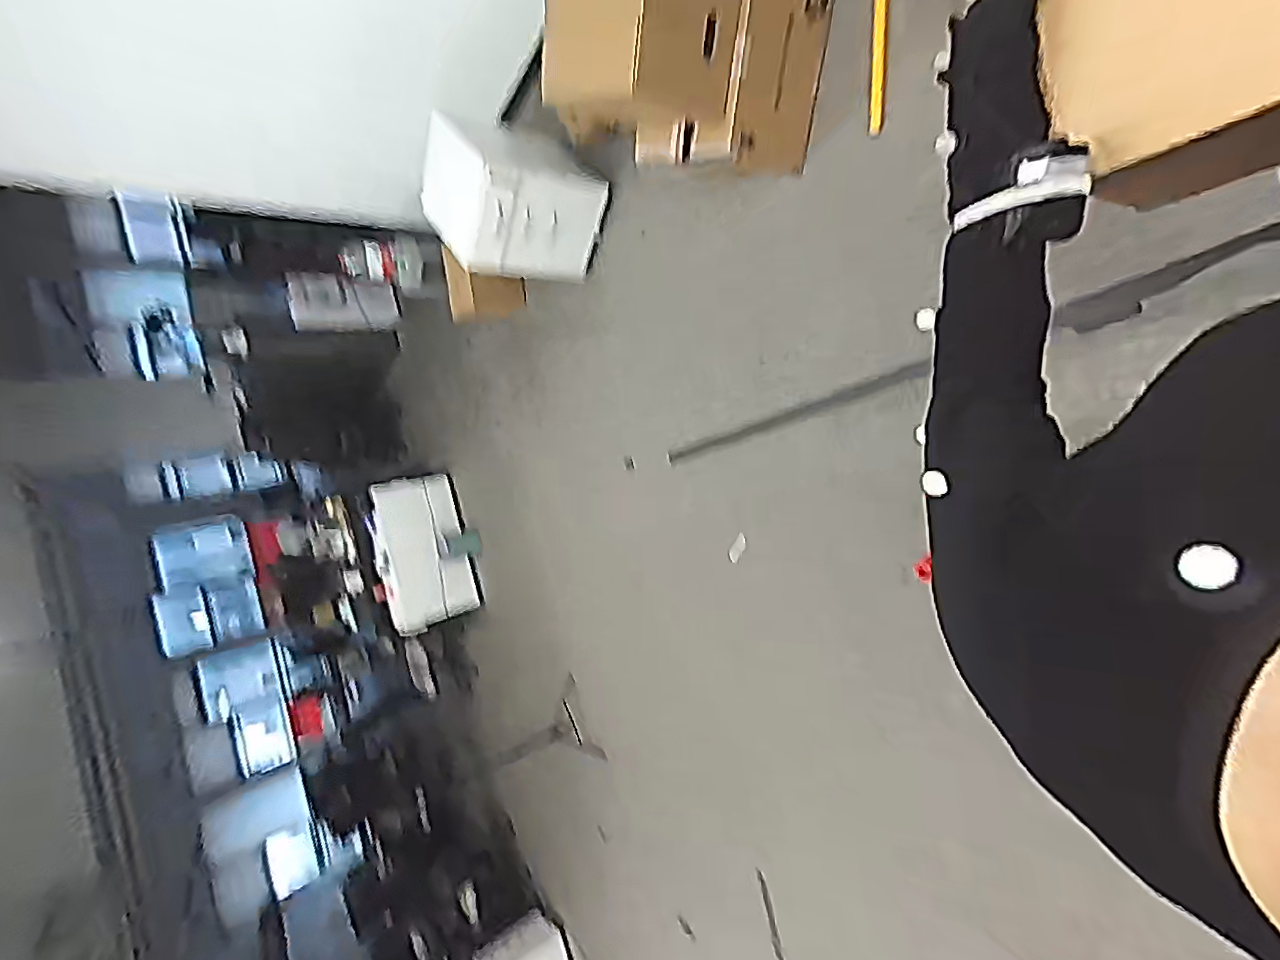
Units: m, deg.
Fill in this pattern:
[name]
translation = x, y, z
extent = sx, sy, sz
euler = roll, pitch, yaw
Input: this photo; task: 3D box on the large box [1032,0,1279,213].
[large box]
translation = 0.514, -0.419, 0.332
extent = 0.408, 0.320, 0.320
euler = -8, 98, 51
